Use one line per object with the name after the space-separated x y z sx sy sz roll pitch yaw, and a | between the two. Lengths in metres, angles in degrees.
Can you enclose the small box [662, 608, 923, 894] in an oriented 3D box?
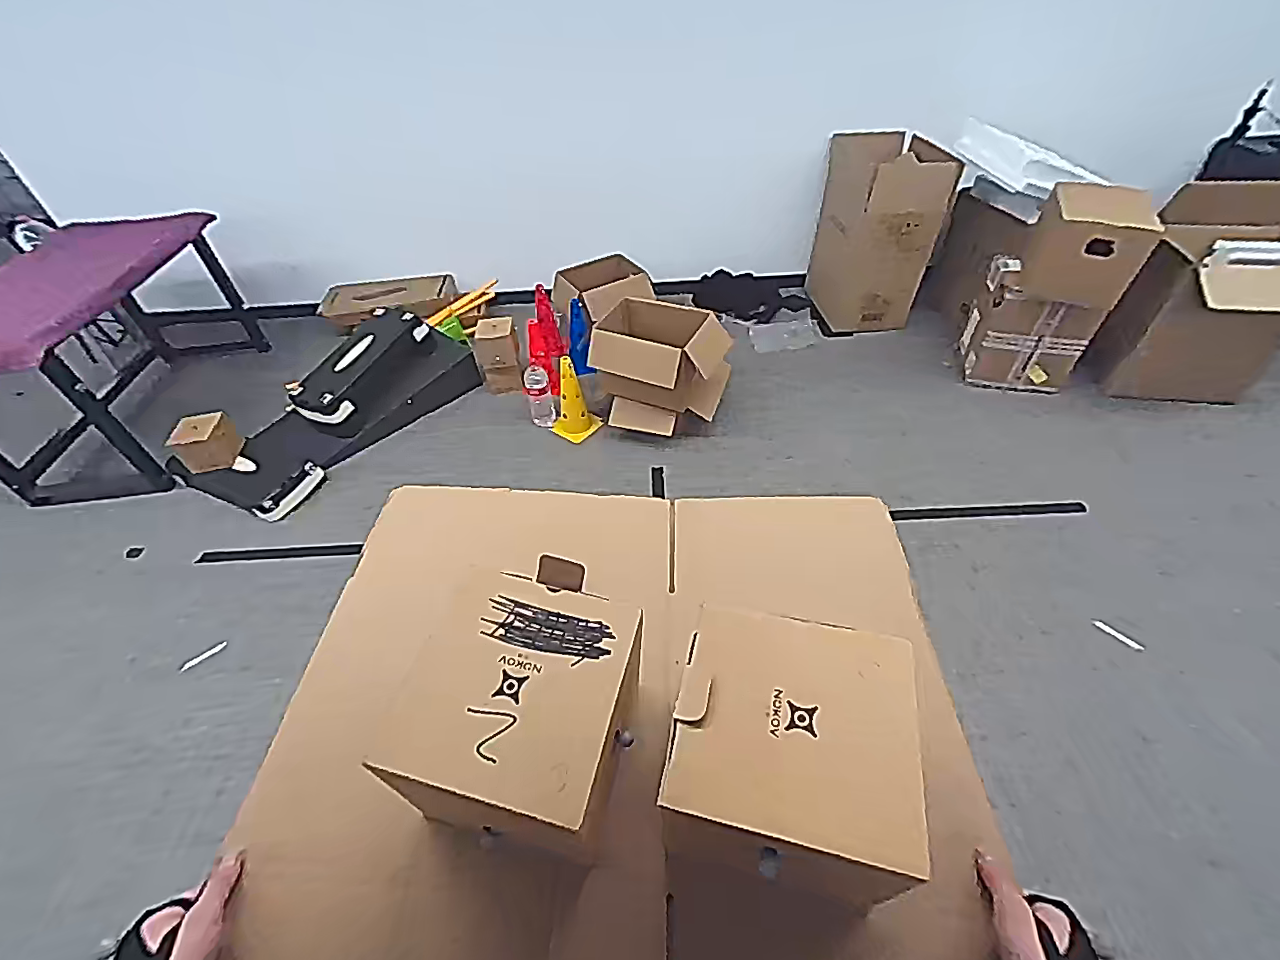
0.126 0.239 0.476 0.179 0.176 0.168 7 48 14 | small box
